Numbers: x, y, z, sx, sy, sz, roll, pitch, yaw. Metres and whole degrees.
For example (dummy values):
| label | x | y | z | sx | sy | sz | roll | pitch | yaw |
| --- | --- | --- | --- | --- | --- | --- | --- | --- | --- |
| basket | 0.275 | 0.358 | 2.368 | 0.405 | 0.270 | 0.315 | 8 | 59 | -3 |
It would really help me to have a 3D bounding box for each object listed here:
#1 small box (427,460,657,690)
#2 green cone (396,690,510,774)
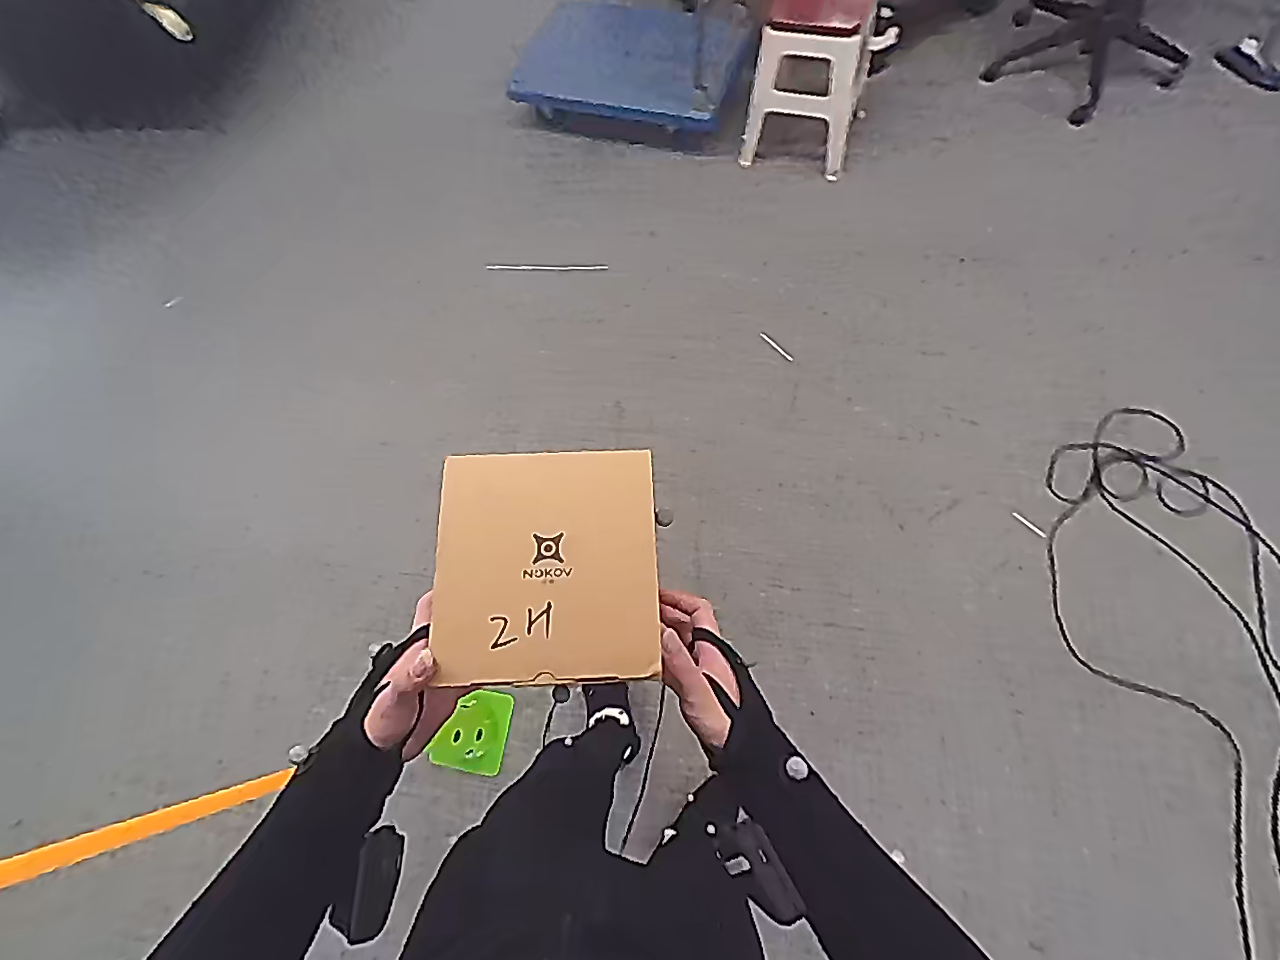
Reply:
| label | x | y | z | sx | sy | sz | roll | pitch | yaw |
| --- | --- | --- | --- | --- | --- | --- | --- | --- | --- |
| small box | -0.073 | 0.094 | 0.487 | 0.168 | 0.176 | 0.179 | -1 | 70 | -1 |
| green cone | -0.480 | 0.606 | 1.293 | 0.202 | 0.368 | 0.200 | 7 | 70 | 9 |
